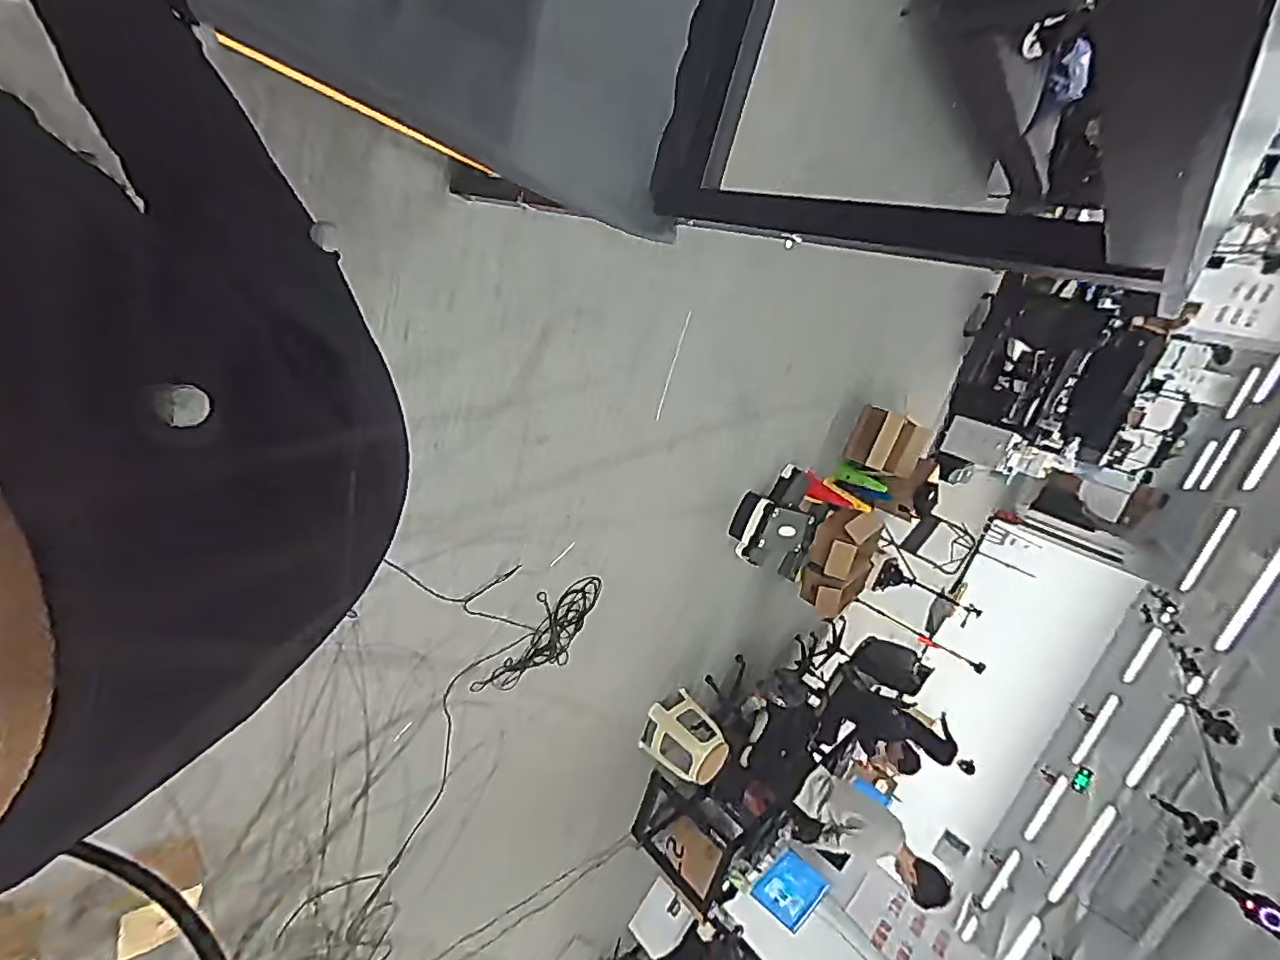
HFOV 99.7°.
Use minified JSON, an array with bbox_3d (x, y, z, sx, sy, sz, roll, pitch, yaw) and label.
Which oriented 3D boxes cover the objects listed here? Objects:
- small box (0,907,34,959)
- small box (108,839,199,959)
[{"bbox_3d":[-1.559,1.155,1.264,0.168,0.176,0.179,12,104,-51],"label":"small box"},{"bbox_3d":[-1.353,1.158,1.502,0.168,0.176,0.179,2,111,-50],"label":"small box"}]
